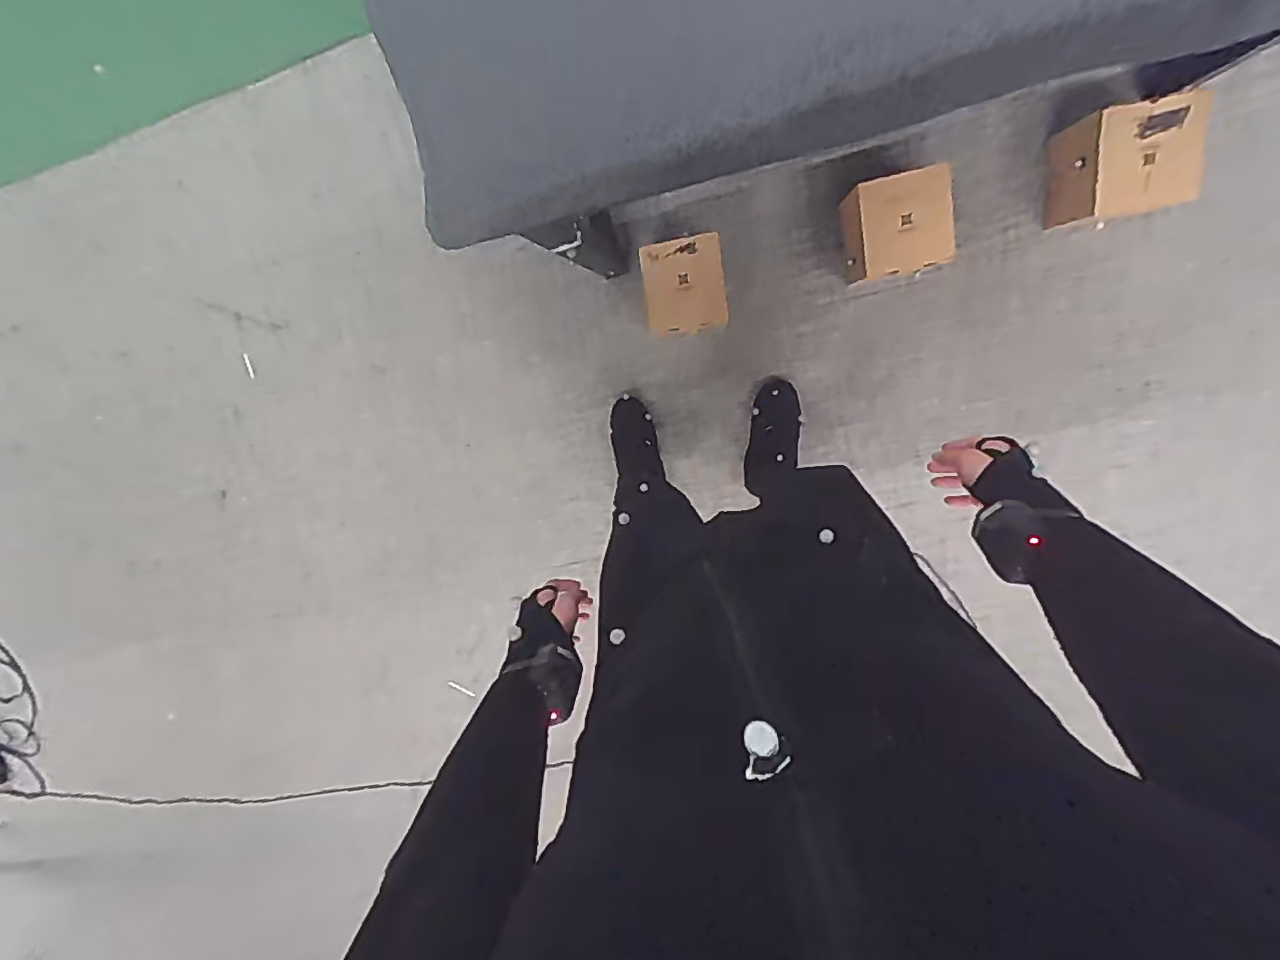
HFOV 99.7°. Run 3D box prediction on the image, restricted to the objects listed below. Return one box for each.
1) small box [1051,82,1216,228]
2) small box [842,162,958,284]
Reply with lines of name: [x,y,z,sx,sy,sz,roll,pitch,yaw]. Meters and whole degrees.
small box: [0.904,-0.591,1.009,0.168,0.176,0.179,-7,104,11]
small box: [0.521,-0.507,1.100,0.168,0.176,0.179,-11,100,11]
